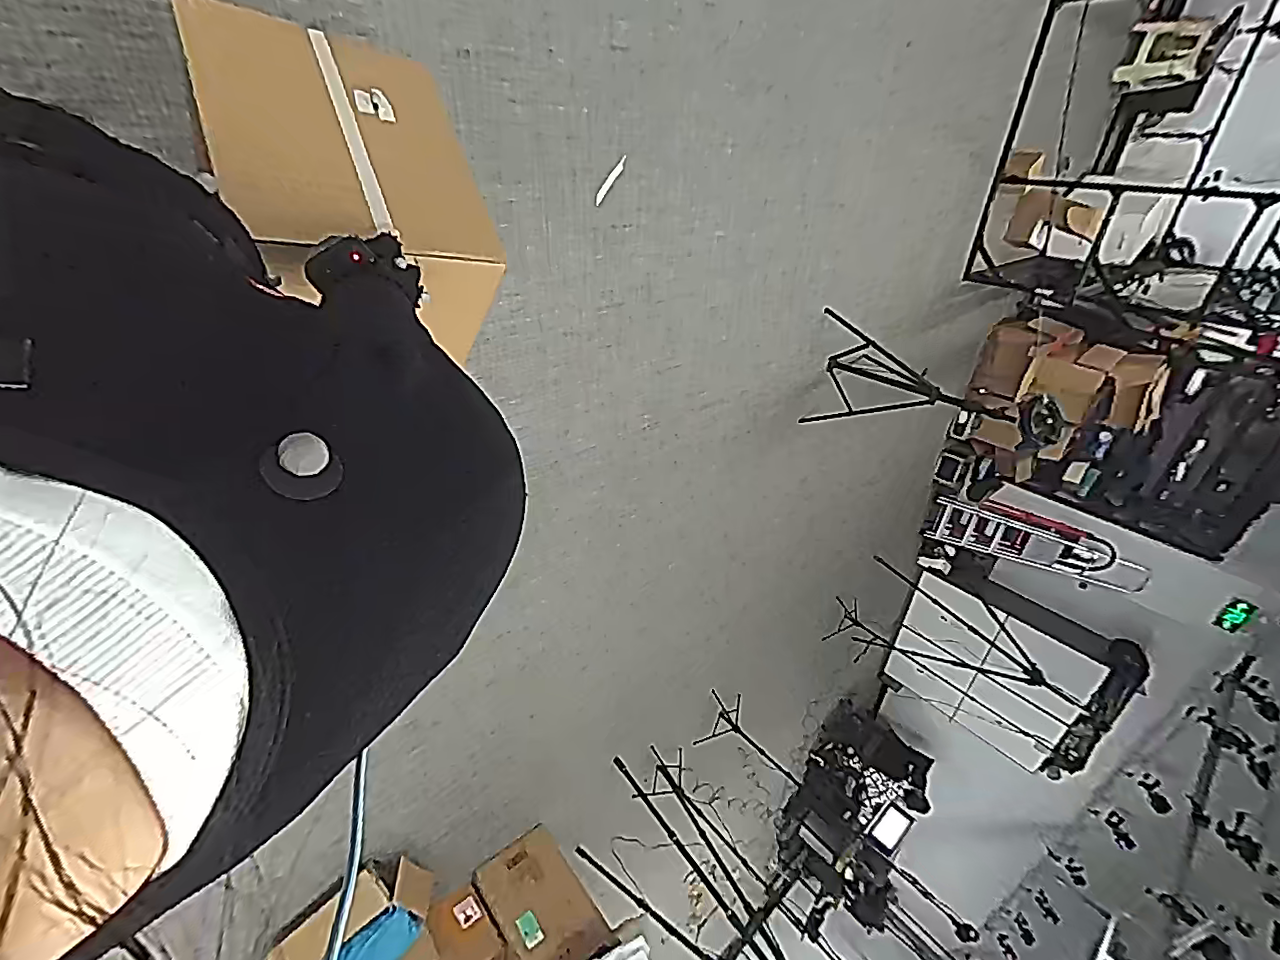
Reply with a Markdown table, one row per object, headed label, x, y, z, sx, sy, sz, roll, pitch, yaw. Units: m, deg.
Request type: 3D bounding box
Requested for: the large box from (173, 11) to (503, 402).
| label | x | y | z | sx | sy | sz | roll | pitch | yaw |
| --- | --- | --- | --- | --- | --- | --- | --- | --- | --- |
| large box | -0.463 | -0.380 | 0.835 | 0.320 | 0.408 | 0.320 | -12 | 160 | -39 |
